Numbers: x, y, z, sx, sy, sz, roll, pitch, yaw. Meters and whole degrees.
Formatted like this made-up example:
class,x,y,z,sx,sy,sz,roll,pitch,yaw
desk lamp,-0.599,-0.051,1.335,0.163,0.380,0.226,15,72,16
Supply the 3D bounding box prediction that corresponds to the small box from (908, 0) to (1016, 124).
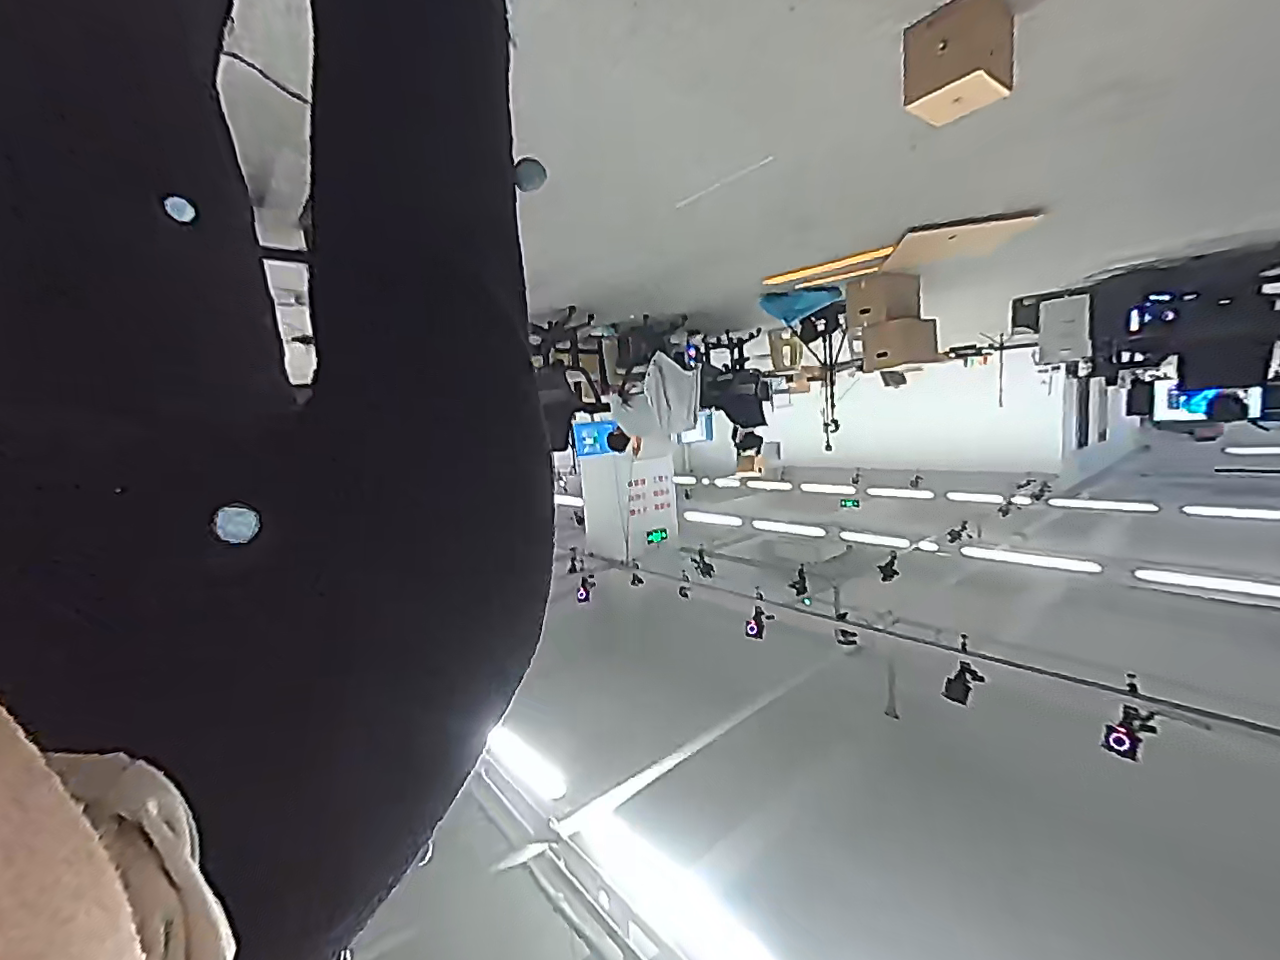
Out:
class,x,y,z,sx,sy,sz,roll,pitch,yaw
small box,0.725,-0.953,1.222,0.179,0.176,0.168,-10,-171,-36
